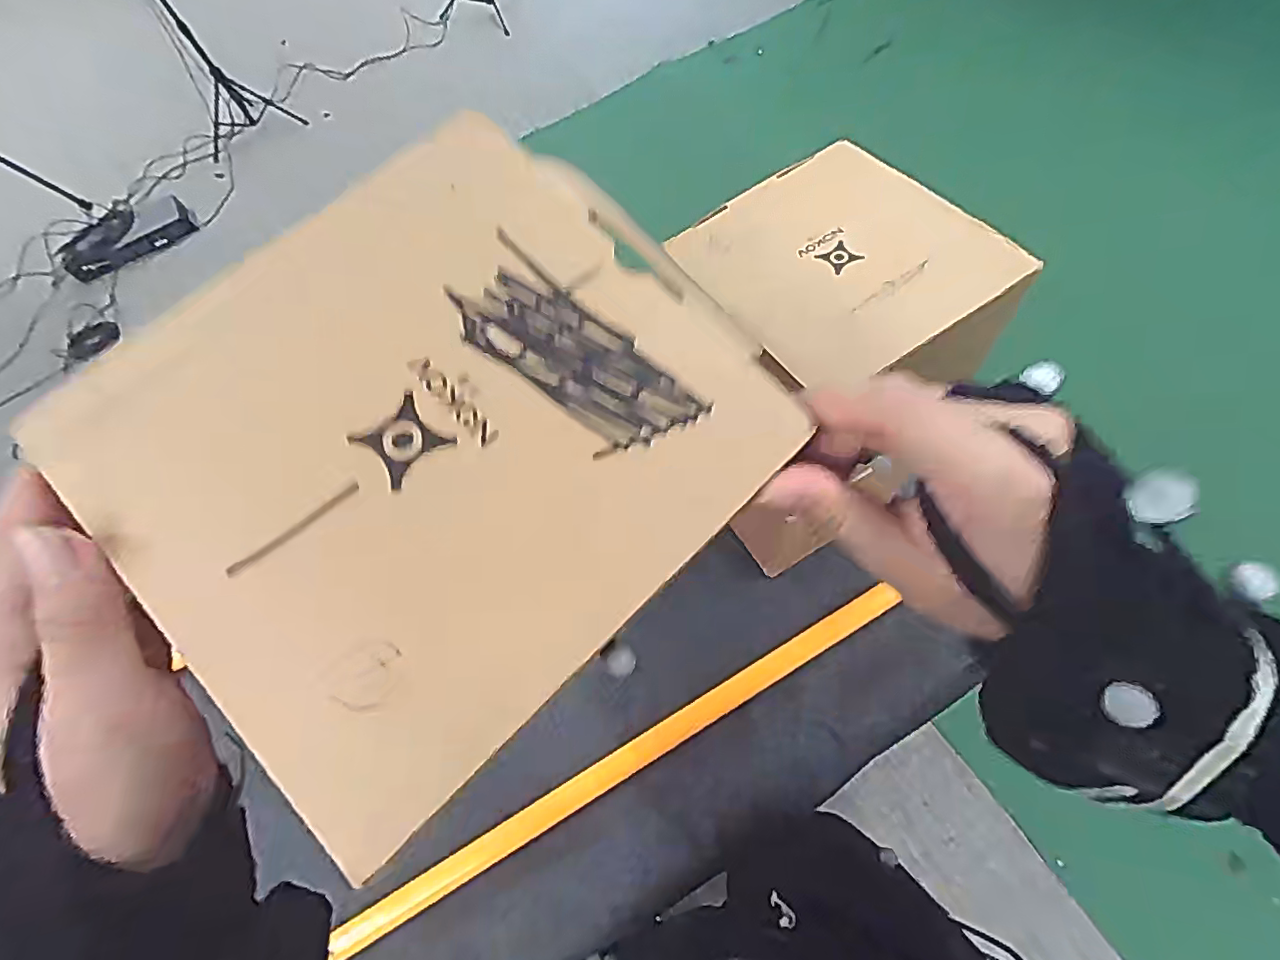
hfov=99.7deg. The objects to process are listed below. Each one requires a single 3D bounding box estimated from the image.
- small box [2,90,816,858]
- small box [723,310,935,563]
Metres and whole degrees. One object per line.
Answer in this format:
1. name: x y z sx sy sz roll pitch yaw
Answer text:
1. small box: -0.066 -0.002 0.234 0.179 0.176 0.168 -42 81 -12
2. small box: 0.157 -0.032 0.563 0.168 0.176 0.179 -31 62 -7
